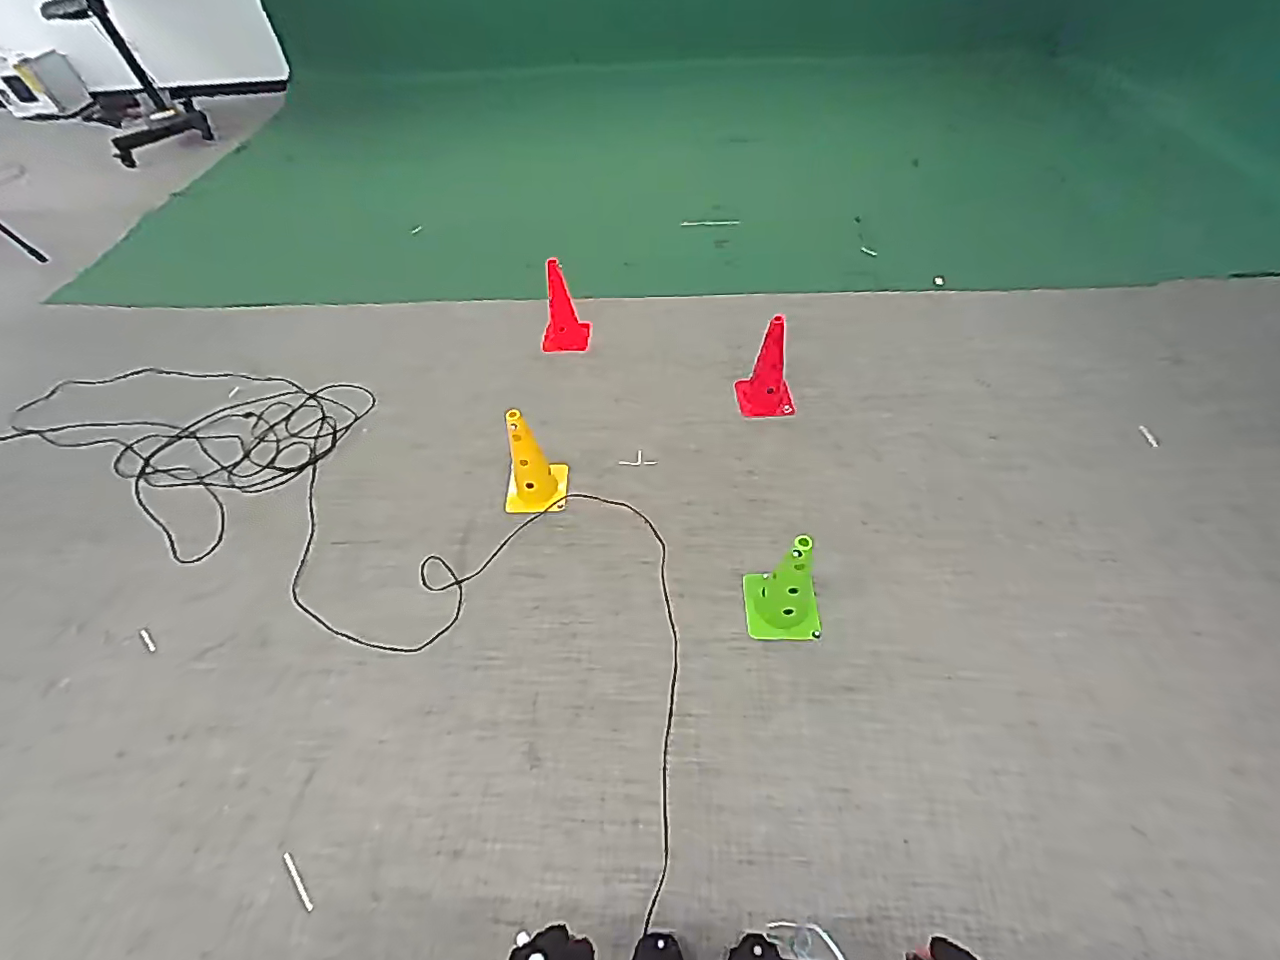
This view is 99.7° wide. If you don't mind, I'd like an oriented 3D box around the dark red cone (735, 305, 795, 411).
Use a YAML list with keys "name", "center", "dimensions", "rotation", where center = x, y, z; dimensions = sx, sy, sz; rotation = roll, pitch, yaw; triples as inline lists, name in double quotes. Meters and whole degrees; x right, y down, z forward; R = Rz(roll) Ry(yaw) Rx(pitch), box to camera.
- name: "dark red cone"
  center: [0.457, -0.438, 1.905]
  dimensions: [0.202, 0.394, 0.201]
  rotation: [-5, 51, 1]

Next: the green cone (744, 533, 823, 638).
- name: "green cone"
  center: [0.393, 0.247, 1.410]
  dimensions: [0.202, 0.368, 0.200]
  rotation: [-2, 52, 4]

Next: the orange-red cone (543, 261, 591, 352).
- name: "orange-red cone"
  center: [-0.331, -0.724, 2.215]
  dimensions: [0.198, 0.360, 0.199]
  rotation: [-1, 53, 5]
